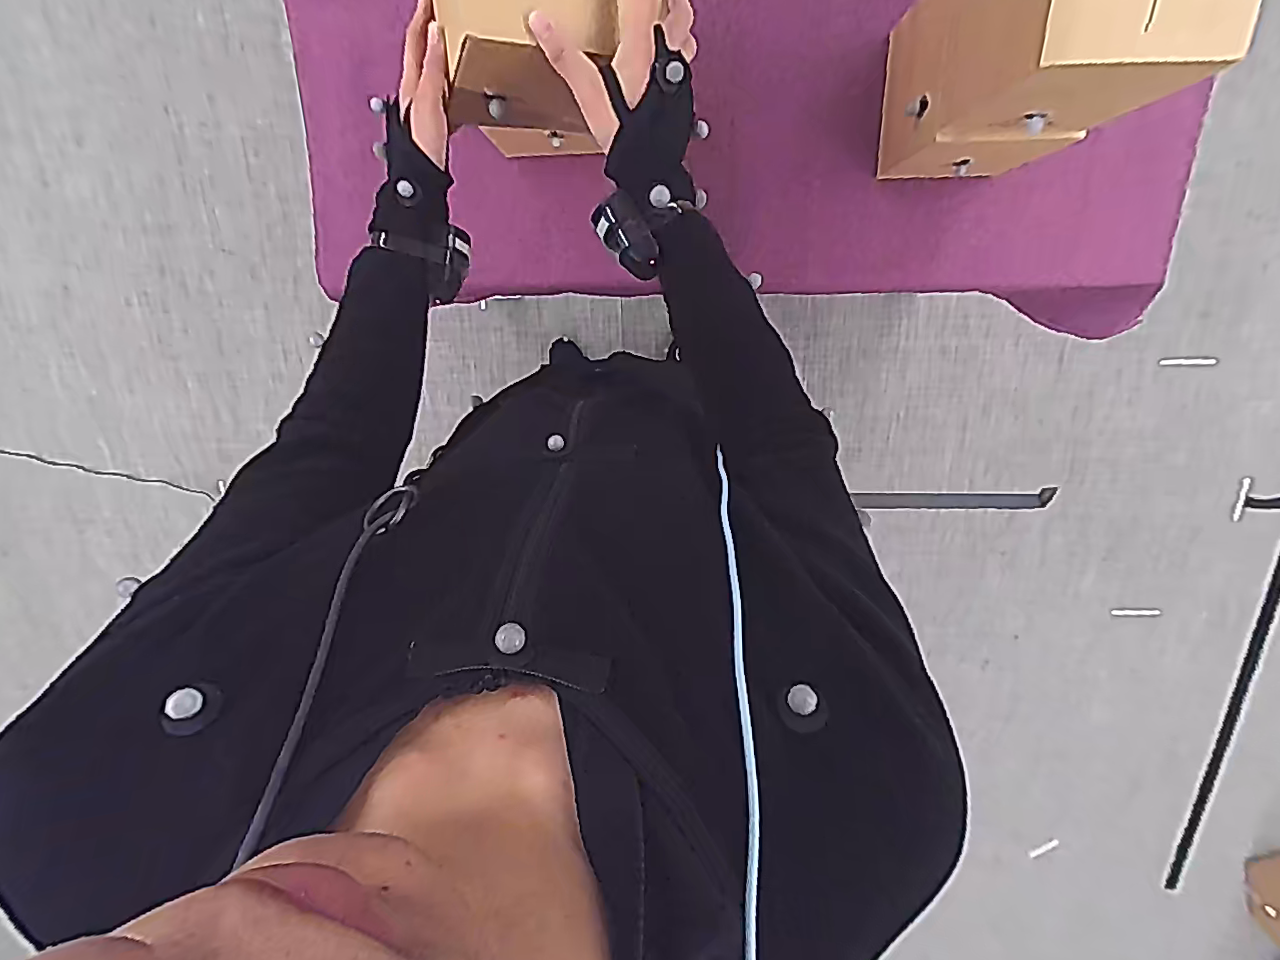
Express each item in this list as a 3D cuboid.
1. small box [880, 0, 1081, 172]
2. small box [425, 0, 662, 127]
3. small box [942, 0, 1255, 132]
[{"bbox_3d":[0.410,-0.486,0.656,0.168,0.176,0.179,0,107,1],"label":"small box"},{"bbox_3d":[-0.086,-0.424,0.461,0.176,0.179,0.168,-11,108,-23],"label":"small box"},{"bbox_3d":[0.408,-0.447,0.496,0.168,0.176,0.179,0,108,1],"label":"small box"}]
